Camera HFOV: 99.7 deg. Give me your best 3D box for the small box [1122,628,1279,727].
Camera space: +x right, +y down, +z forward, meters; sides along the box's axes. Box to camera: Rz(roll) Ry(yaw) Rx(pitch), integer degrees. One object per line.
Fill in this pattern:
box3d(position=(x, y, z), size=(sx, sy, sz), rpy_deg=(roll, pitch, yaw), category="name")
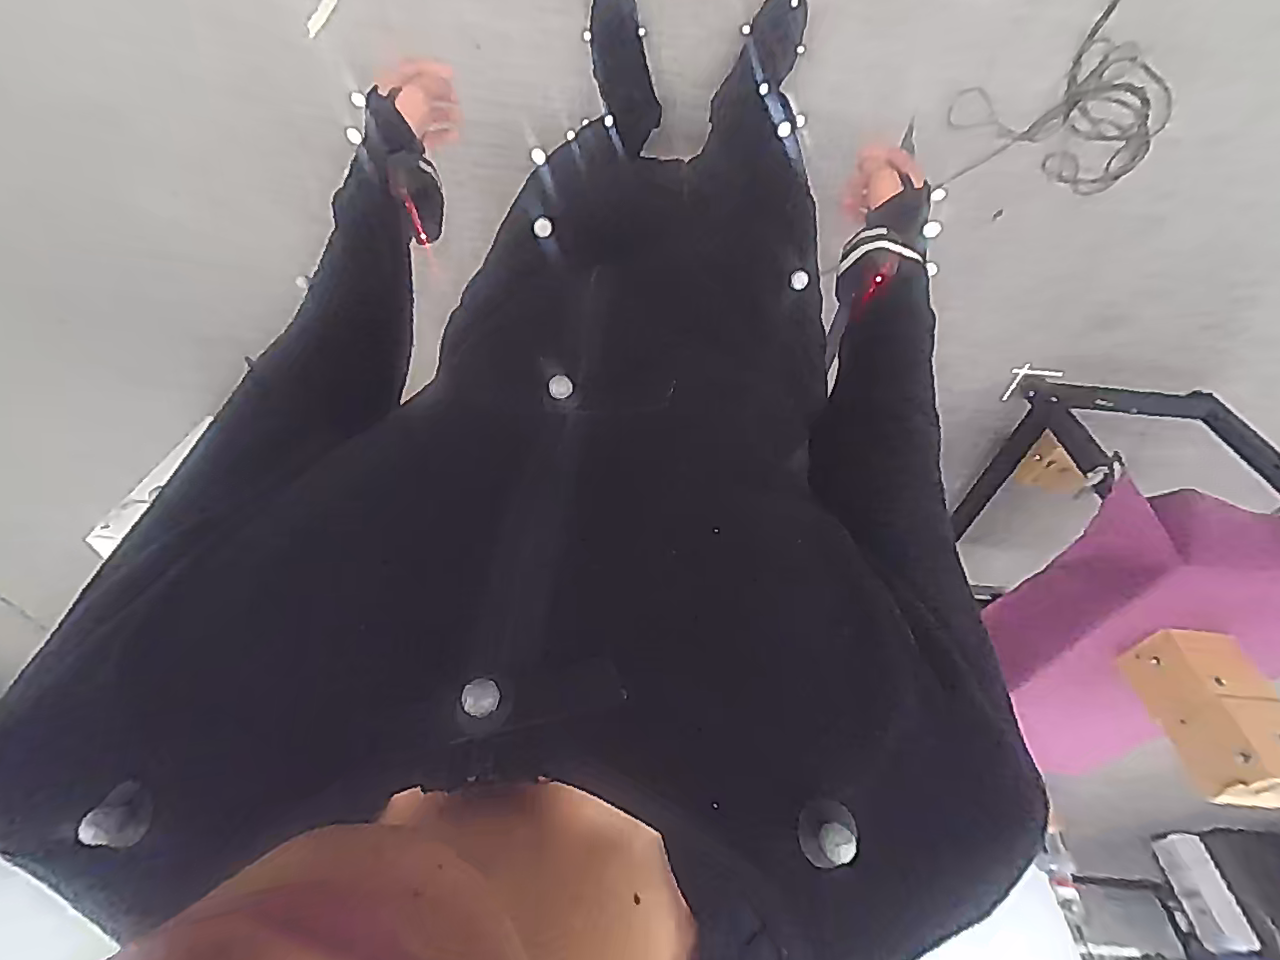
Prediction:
box3d(position=(1.336, 0.472, 1.297), size=(0.179, 0.176, 0.168), rpy_deg=(6, 135, -1), category="small box")
